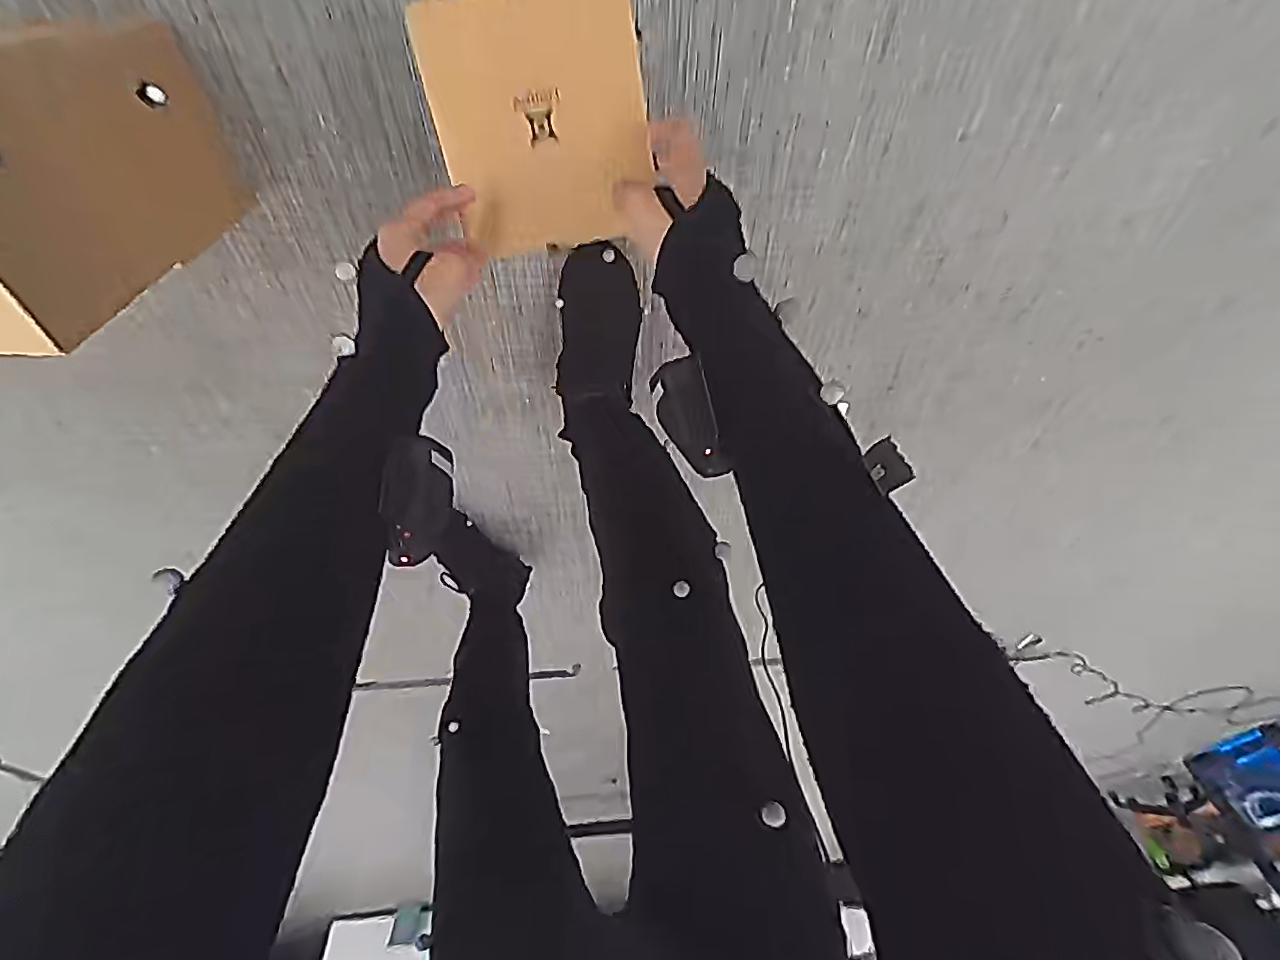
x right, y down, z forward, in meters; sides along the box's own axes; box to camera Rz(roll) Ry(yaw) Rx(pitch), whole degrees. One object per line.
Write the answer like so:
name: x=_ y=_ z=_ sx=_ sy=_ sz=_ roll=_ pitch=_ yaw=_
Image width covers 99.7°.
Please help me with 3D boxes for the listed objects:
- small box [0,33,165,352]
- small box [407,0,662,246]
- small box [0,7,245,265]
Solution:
small box: x=-0.516 y=-0.211 z=0.390 sx=0.168 sy=0.176 sz=0.179 roll=-1 pitch=137 yaw=-3
small box: x=-0.072 y=-0.315 z=0.483 sx=0.168 sy=0.176 sz=0.179 roll=-9 pitch=111 yaw=5
small box: x=-0.527 y=-0.323 z=0.509 sx=0.168 sy=0.176 sz=0.179 roll=-1 pitch=136 yaw=-3
